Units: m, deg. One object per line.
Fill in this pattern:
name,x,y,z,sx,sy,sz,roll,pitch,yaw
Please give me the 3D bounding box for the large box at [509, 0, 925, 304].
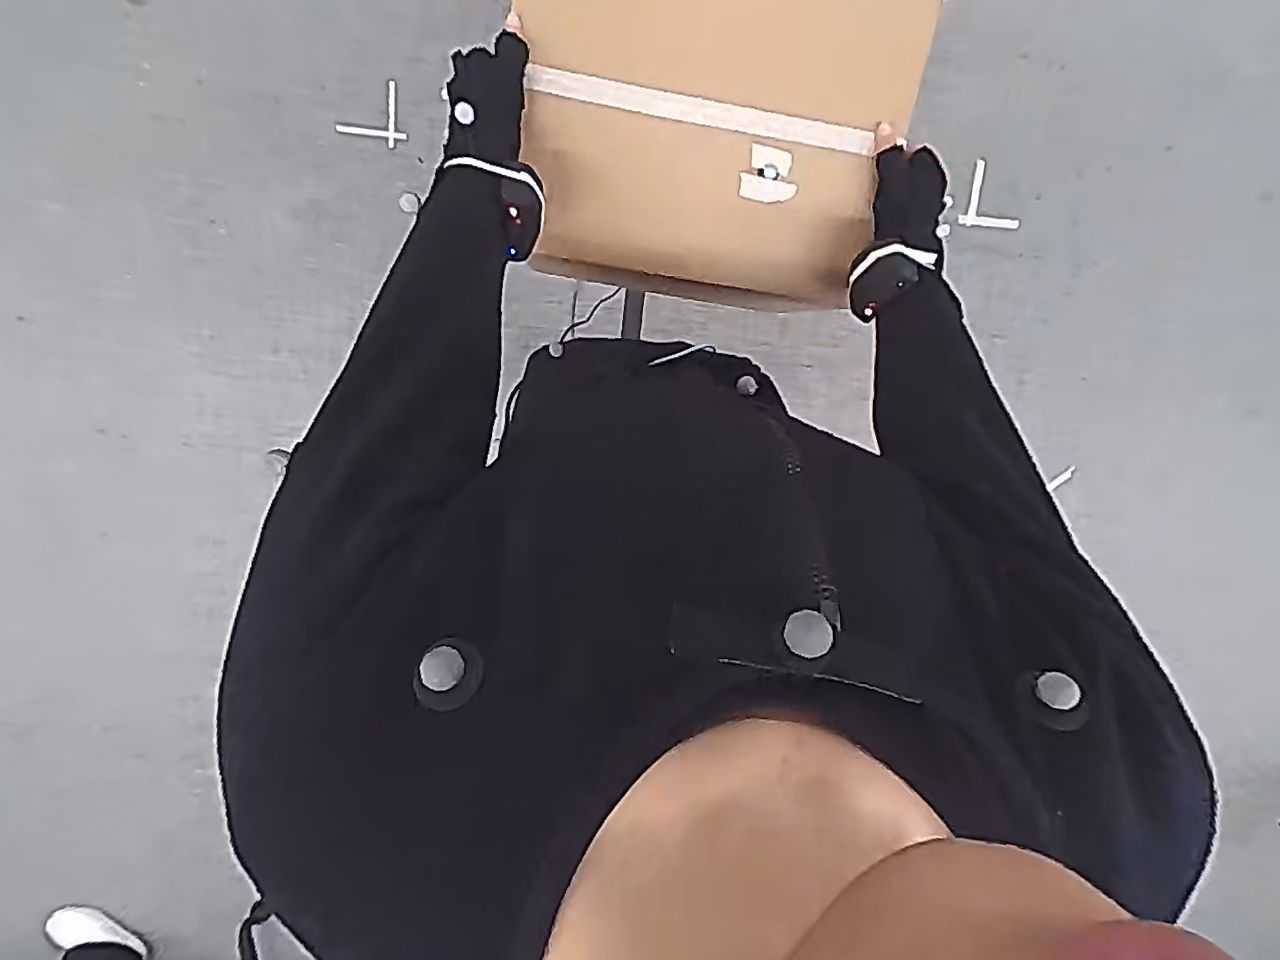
large box,0.060,-0.415,0.698,0.408,0.320,0.320,6,107,-7
